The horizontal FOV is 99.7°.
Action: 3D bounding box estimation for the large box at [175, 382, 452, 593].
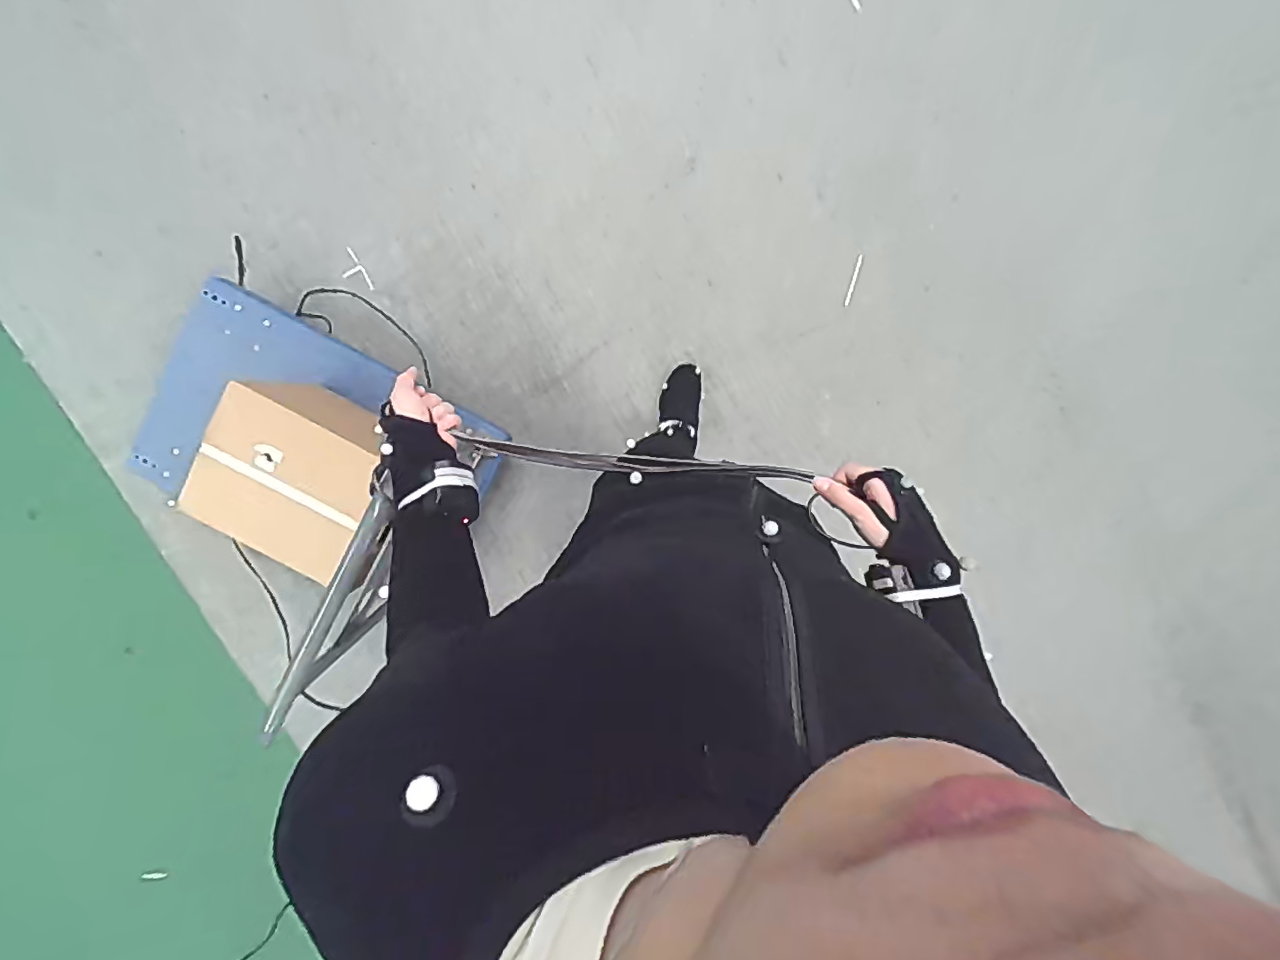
[{"bbox_3d":[-0.733,0.003,1.276,0.408,0.320,0.320,29,96,-3],"label":"large box"}]
